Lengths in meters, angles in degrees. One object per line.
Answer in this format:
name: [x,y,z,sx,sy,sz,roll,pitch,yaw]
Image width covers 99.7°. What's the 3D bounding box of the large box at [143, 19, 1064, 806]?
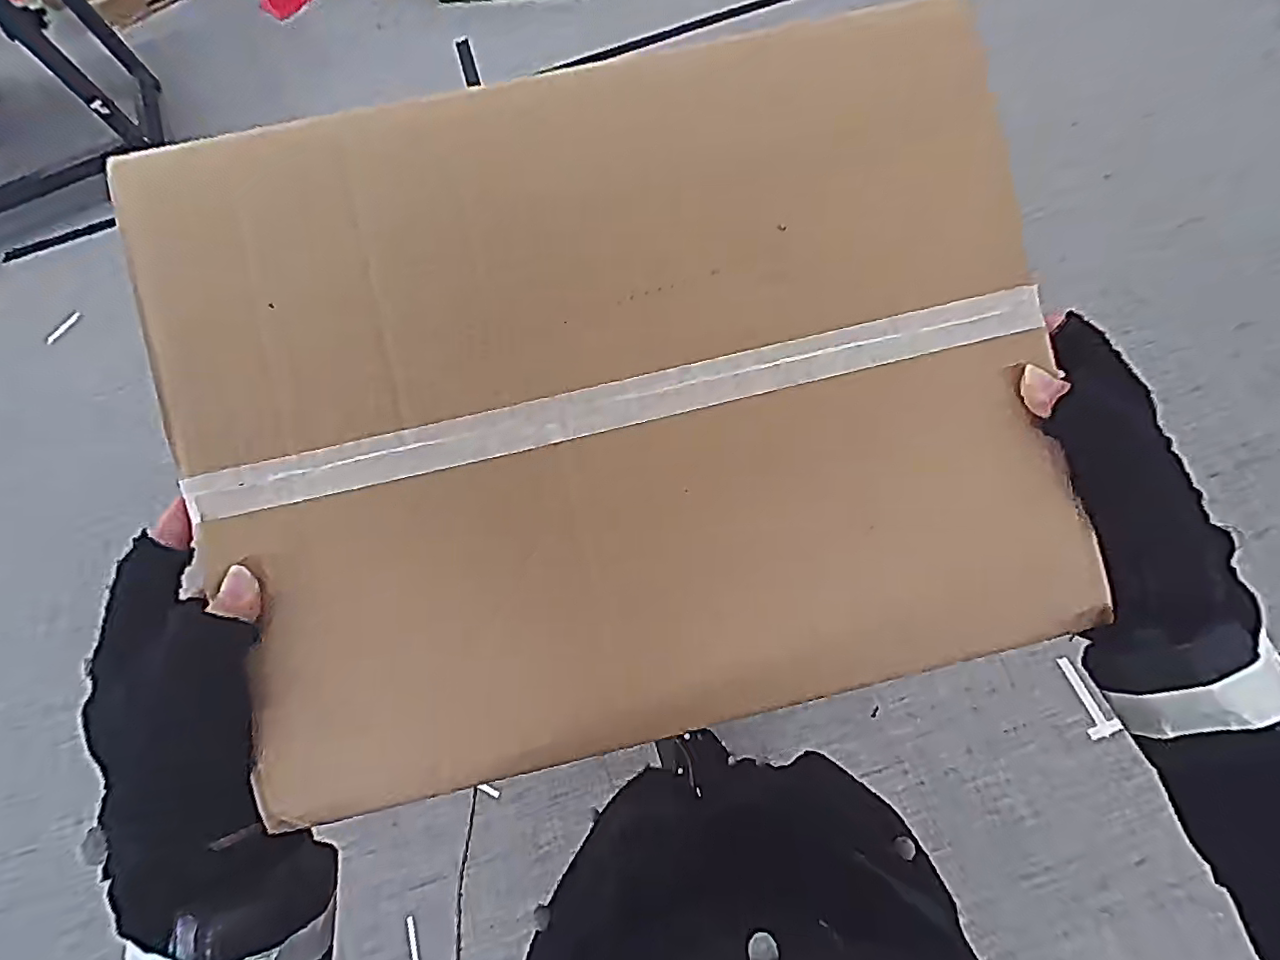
large box: [-0.014,-0.039,0.413,0.408,0.320,0.320,-13,90,-3]
